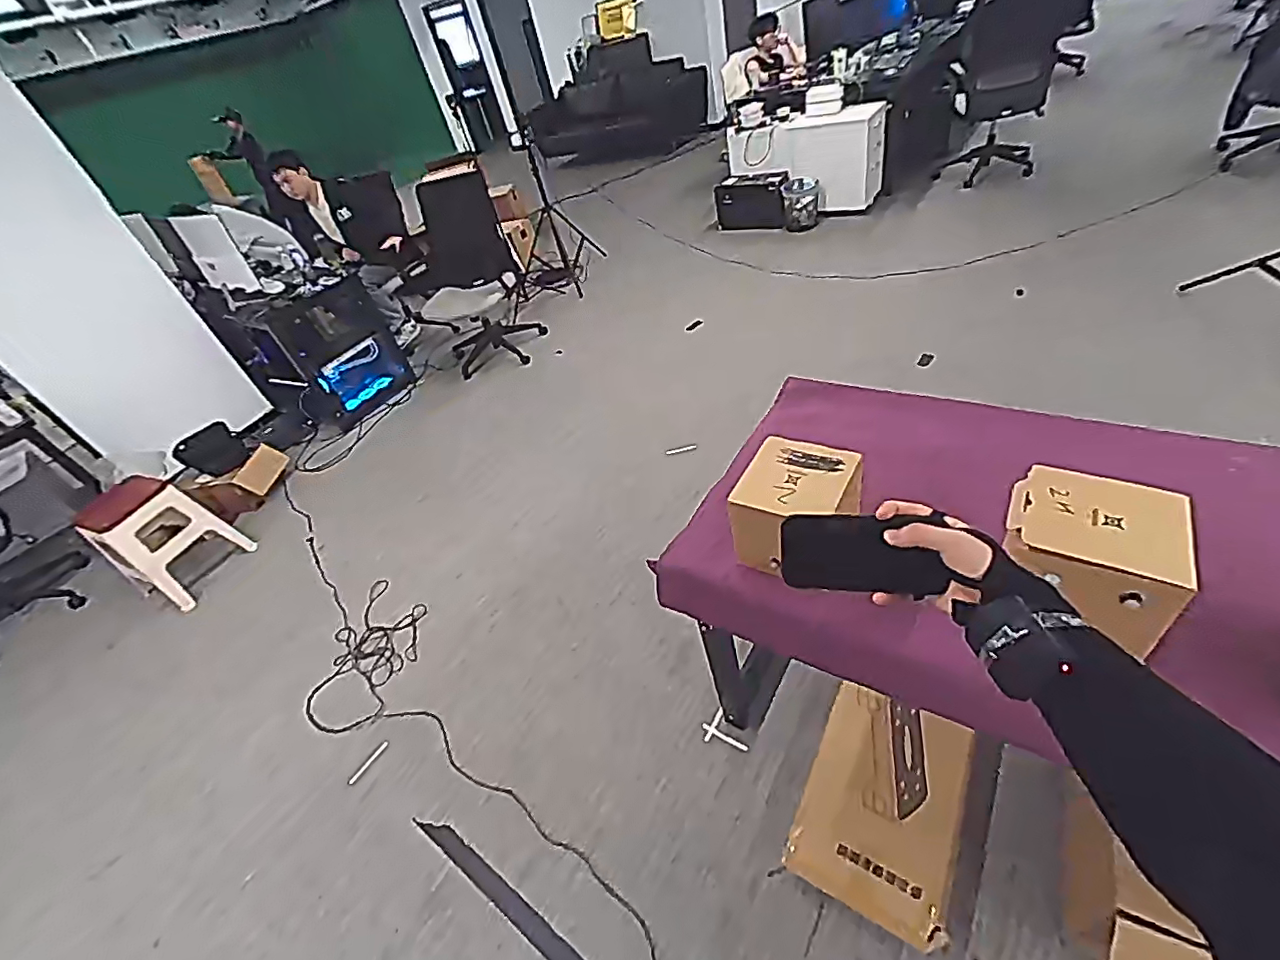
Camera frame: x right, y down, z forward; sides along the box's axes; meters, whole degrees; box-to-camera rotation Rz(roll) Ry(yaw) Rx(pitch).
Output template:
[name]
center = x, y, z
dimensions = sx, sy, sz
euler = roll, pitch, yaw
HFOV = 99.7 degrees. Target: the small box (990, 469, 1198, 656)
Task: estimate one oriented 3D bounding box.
[small box]
center = 0.612, 0.113, 0.745
dimensions = 0.179, 0.176, 0.168
euler = 14, 48, 31
